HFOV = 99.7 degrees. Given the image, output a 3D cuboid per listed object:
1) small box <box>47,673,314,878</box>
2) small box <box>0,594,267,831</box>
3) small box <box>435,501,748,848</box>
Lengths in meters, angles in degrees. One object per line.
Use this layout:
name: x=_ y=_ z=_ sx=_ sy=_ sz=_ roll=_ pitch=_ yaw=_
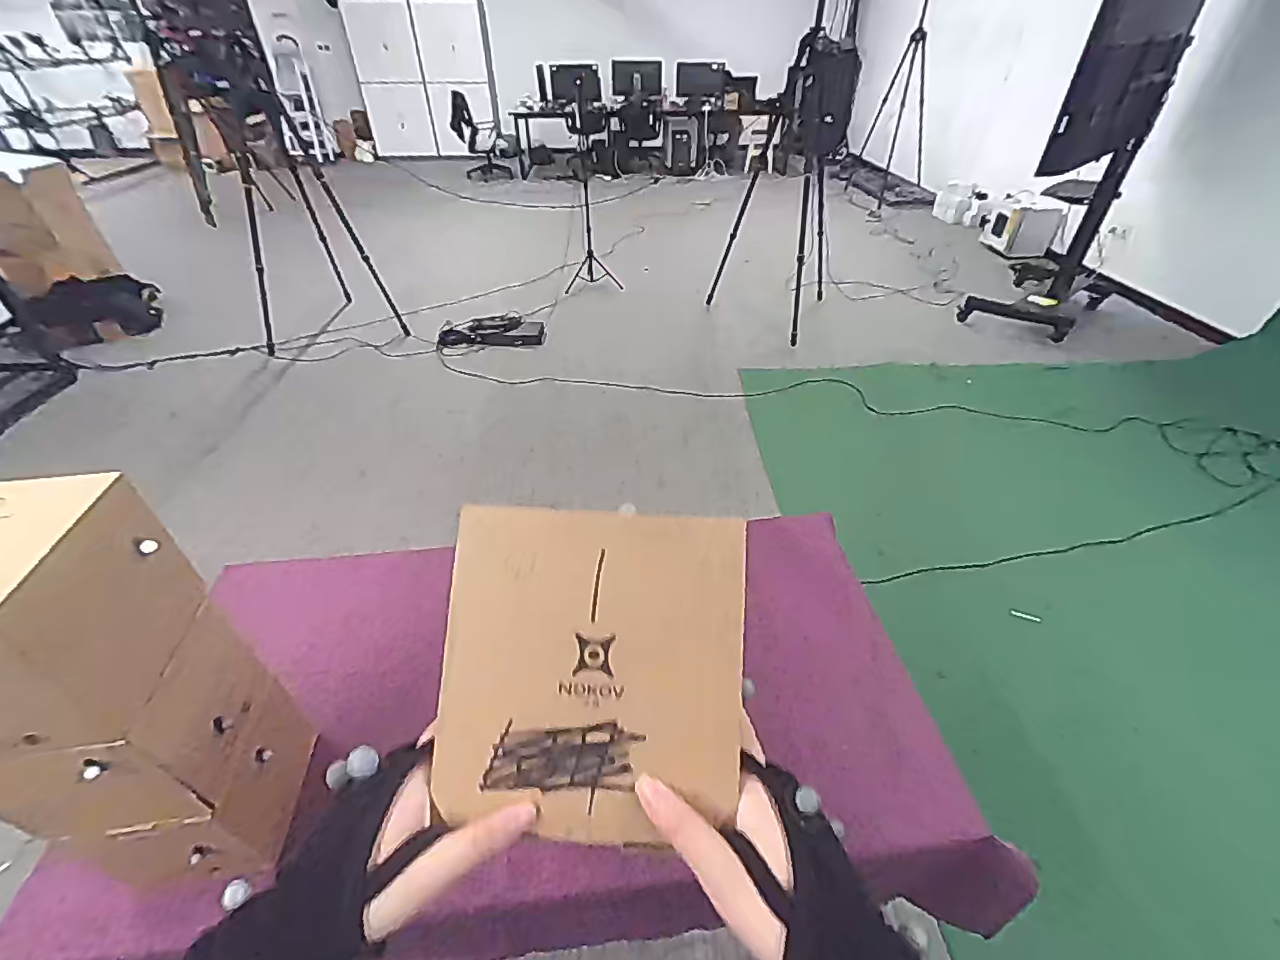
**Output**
small box: x=-0.545 y=0.373 z=0.680 sx=0.168 sy=0.176 sz=0.179 roll=-4 pitch=39 yaw=-6
small box: x=-0.548 y=0.247 z=0.578 sx=0.179 sy=0.176 sz=0.168 roll=-5 pitch=40 yaw=-8
small box: x=-0.022 y=0.115 z=0.378 sx=0.168 sy=0.176 sz=0.179 roll=3 pitch=81 yaw=2
